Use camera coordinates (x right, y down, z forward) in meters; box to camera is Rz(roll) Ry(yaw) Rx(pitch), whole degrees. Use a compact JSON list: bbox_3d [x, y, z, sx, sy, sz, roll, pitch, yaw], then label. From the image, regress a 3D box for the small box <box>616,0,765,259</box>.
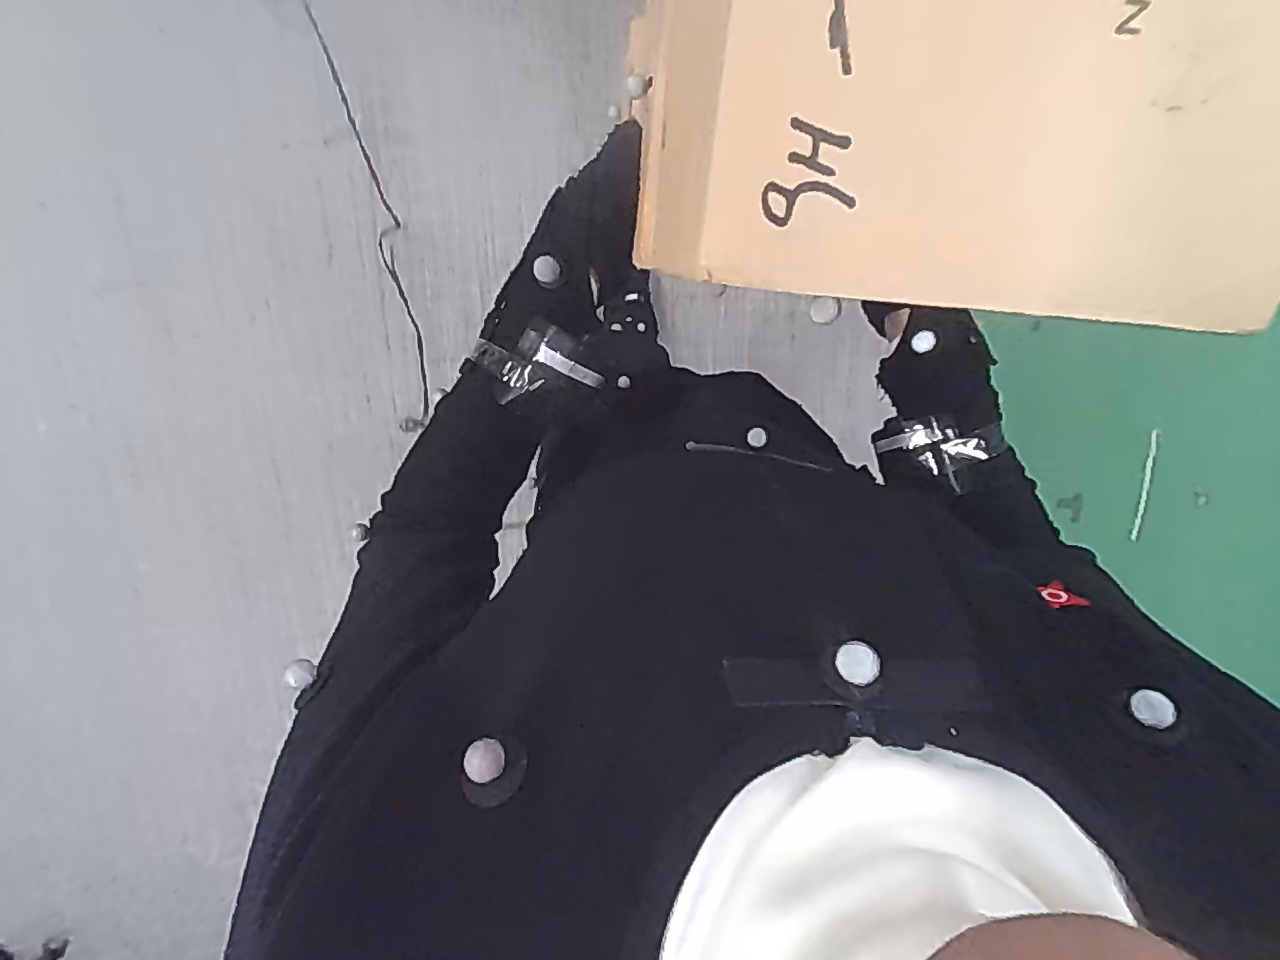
[{"bbox_3d":[0.071,-0.299,0.498,0.179,0.176,0.168,2,113,-7],"label":"small box"}]
